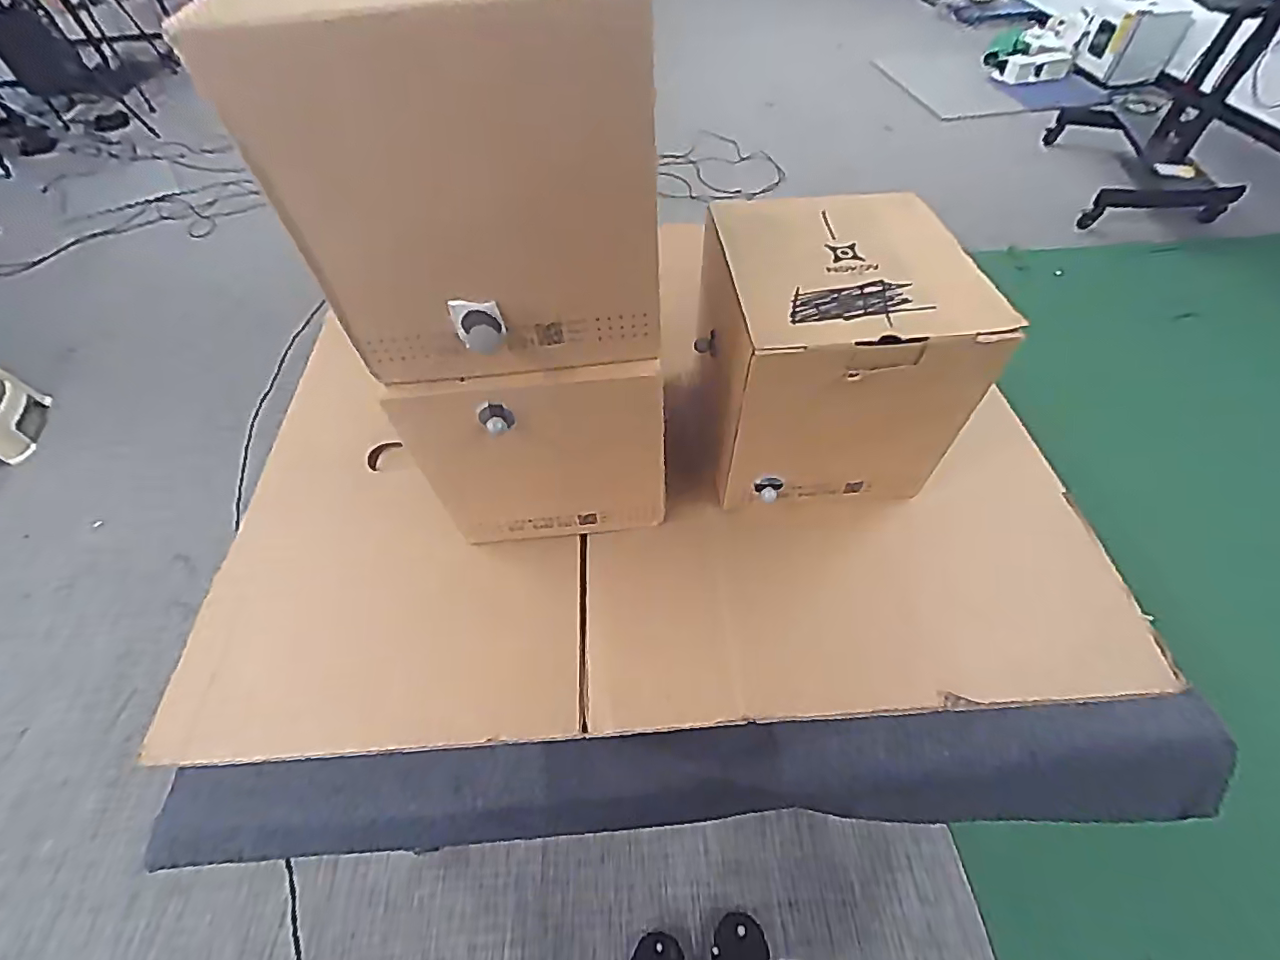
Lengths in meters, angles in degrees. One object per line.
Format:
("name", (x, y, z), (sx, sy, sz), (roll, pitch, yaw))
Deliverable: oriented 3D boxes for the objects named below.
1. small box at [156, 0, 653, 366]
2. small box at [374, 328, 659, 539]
("small box", (-0.086, -0.187, 0.289), (0.168, 0.176, 0.179), (-8, 55, -2))
("small box", (-0.075, -0.075, 0.427), (0.168, 0.176, 0.179), (-6, 53, 1))
